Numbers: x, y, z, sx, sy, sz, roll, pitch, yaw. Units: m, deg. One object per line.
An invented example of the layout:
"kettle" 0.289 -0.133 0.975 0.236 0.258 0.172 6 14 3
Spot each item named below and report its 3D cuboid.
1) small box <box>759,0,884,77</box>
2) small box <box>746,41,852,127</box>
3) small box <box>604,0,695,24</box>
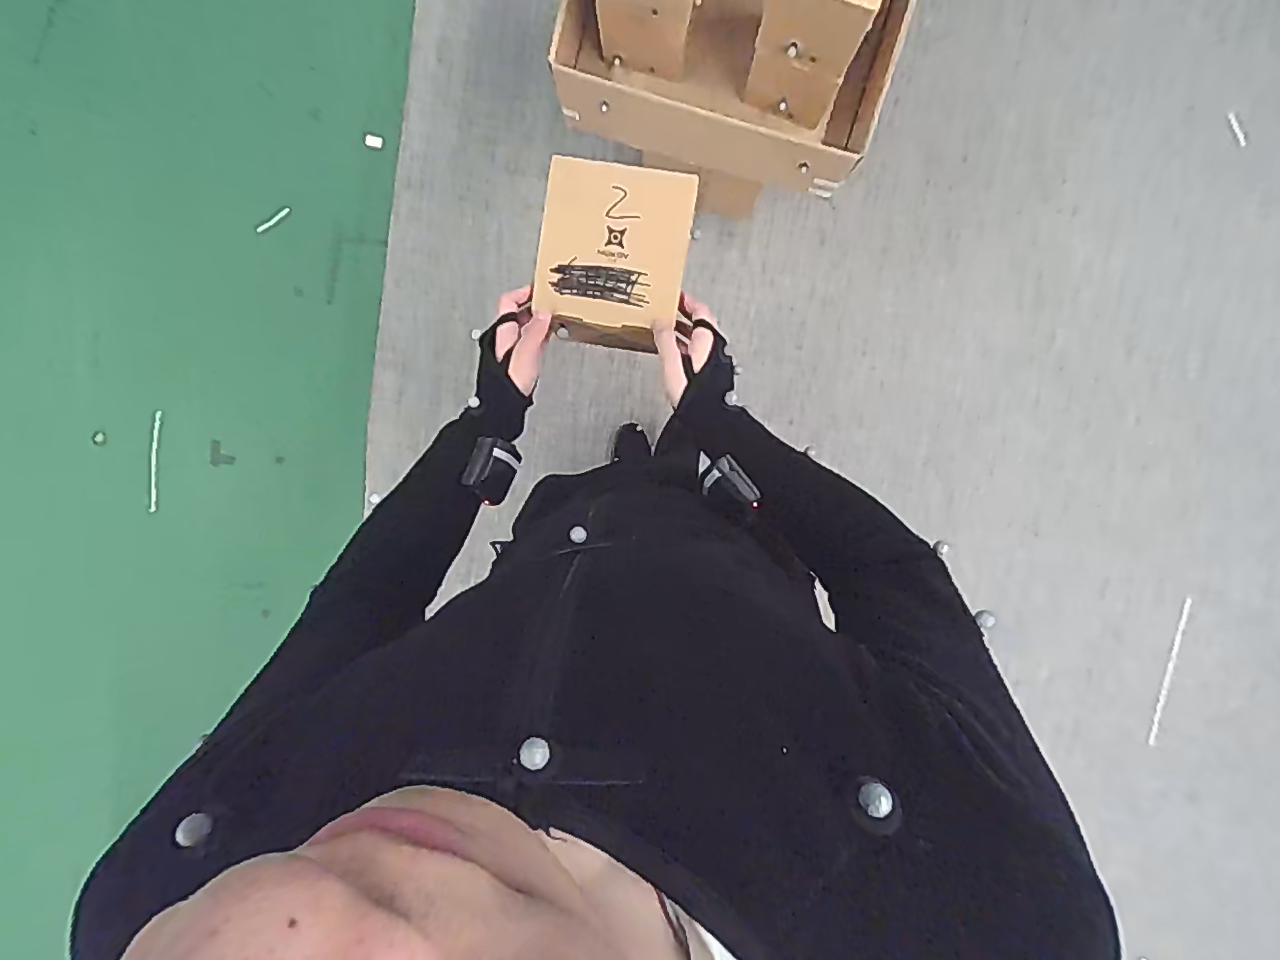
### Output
"small box" 0.303 -0.798 0.854 0.168 0.176 0.179 19 97 -1
"small box" 0.312 -0.817 1.016 0.168 0.176 0.179 20 97 -1
"small box" 0.024 -0.883 0.850 0.168 0.176 0.179 13 97 0
